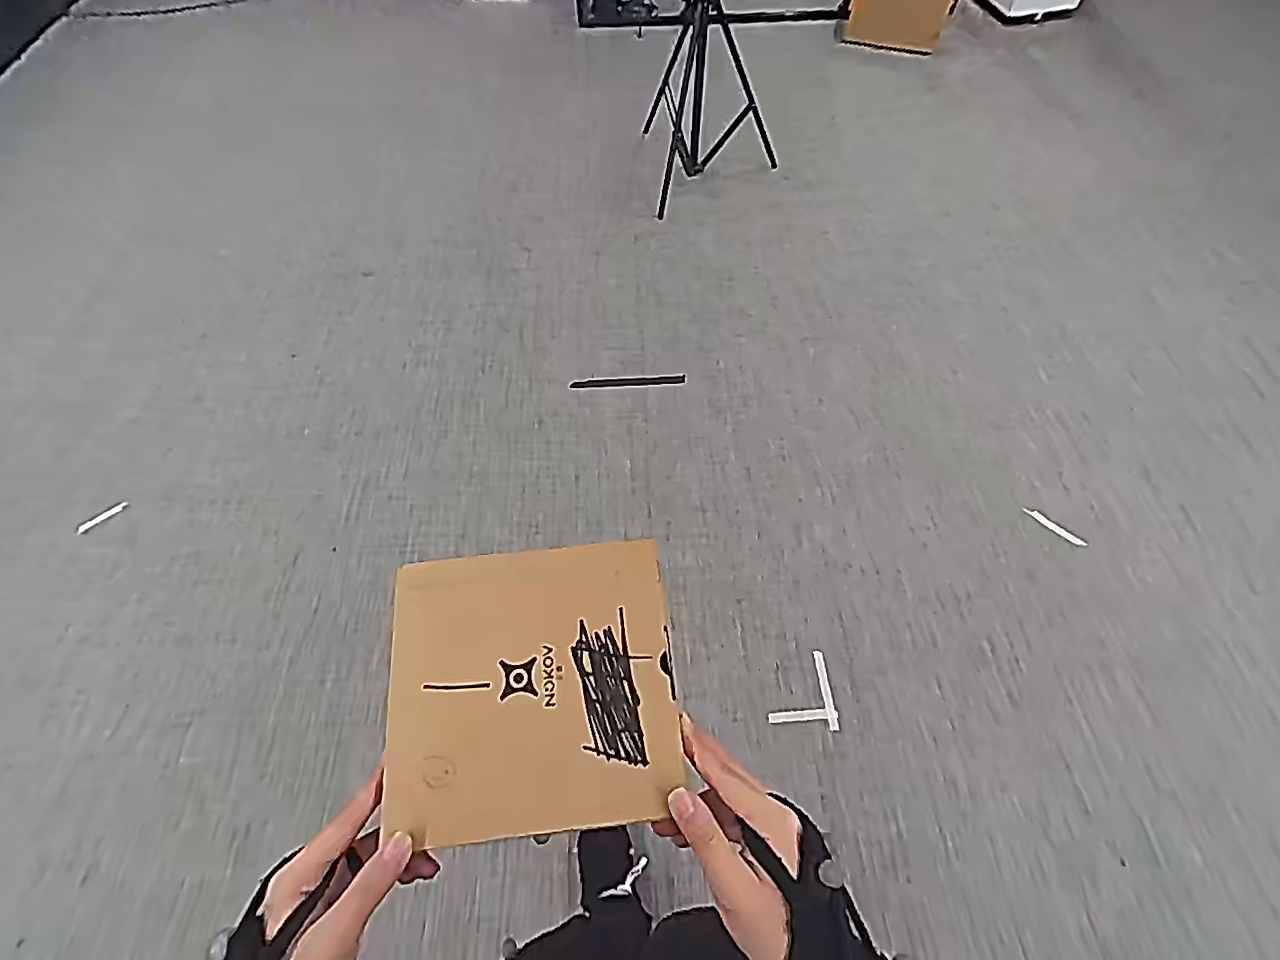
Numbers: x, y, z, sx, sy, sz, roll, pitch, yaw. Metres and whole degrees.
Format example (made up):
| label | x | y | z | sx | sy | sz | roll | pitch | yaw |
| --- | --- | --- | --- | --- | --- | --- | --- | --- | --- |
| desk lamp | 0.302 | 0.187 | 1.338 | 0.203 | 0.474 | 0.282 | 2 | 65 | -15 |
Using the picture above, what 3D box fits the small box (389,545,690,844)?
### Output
| label | x | y | z | sx | sy | sz | roll | pitch | yaw |
| --- | --- | --- | --- | --- | --- | --- | --- | --- | --- |
| small box | -0.066 | 0.157 | 0.416 | 0.179 | 0.176 | 0.168 | -6 | 66 | -3 |
